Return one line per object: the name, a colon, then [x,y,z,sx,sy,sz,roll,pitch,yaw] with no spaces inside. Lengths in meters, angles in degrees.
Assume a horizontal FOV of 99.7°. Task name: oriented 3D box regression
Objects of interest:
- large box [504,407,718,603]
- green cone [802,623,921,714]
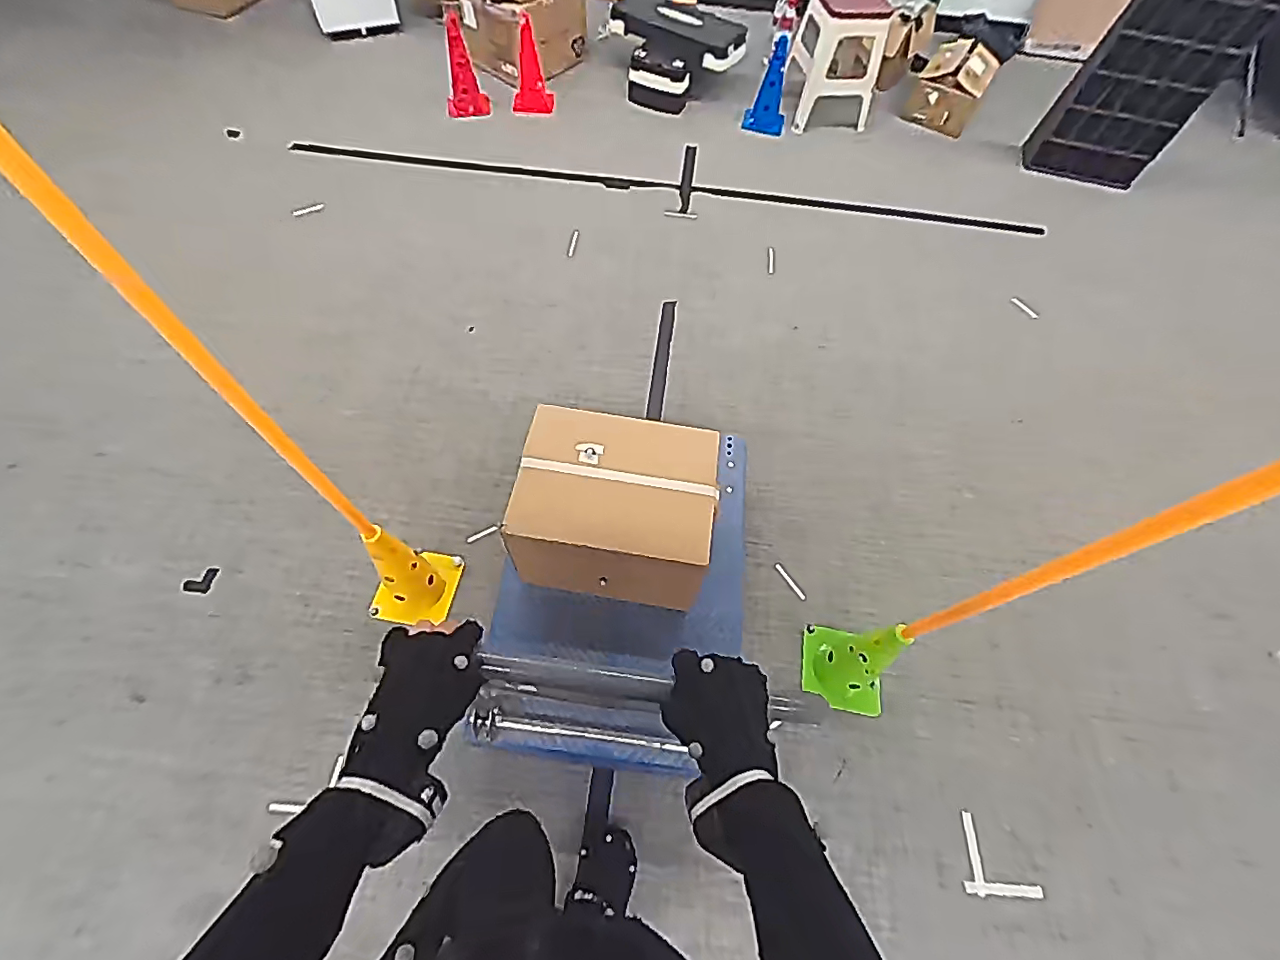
large box: [-0.050,0.069,1.239,0.408,0.320,0.320,9,61,2]
green cone: [0.534,0.402,1.254,0.202,0.368,0.200,12,60,2]
